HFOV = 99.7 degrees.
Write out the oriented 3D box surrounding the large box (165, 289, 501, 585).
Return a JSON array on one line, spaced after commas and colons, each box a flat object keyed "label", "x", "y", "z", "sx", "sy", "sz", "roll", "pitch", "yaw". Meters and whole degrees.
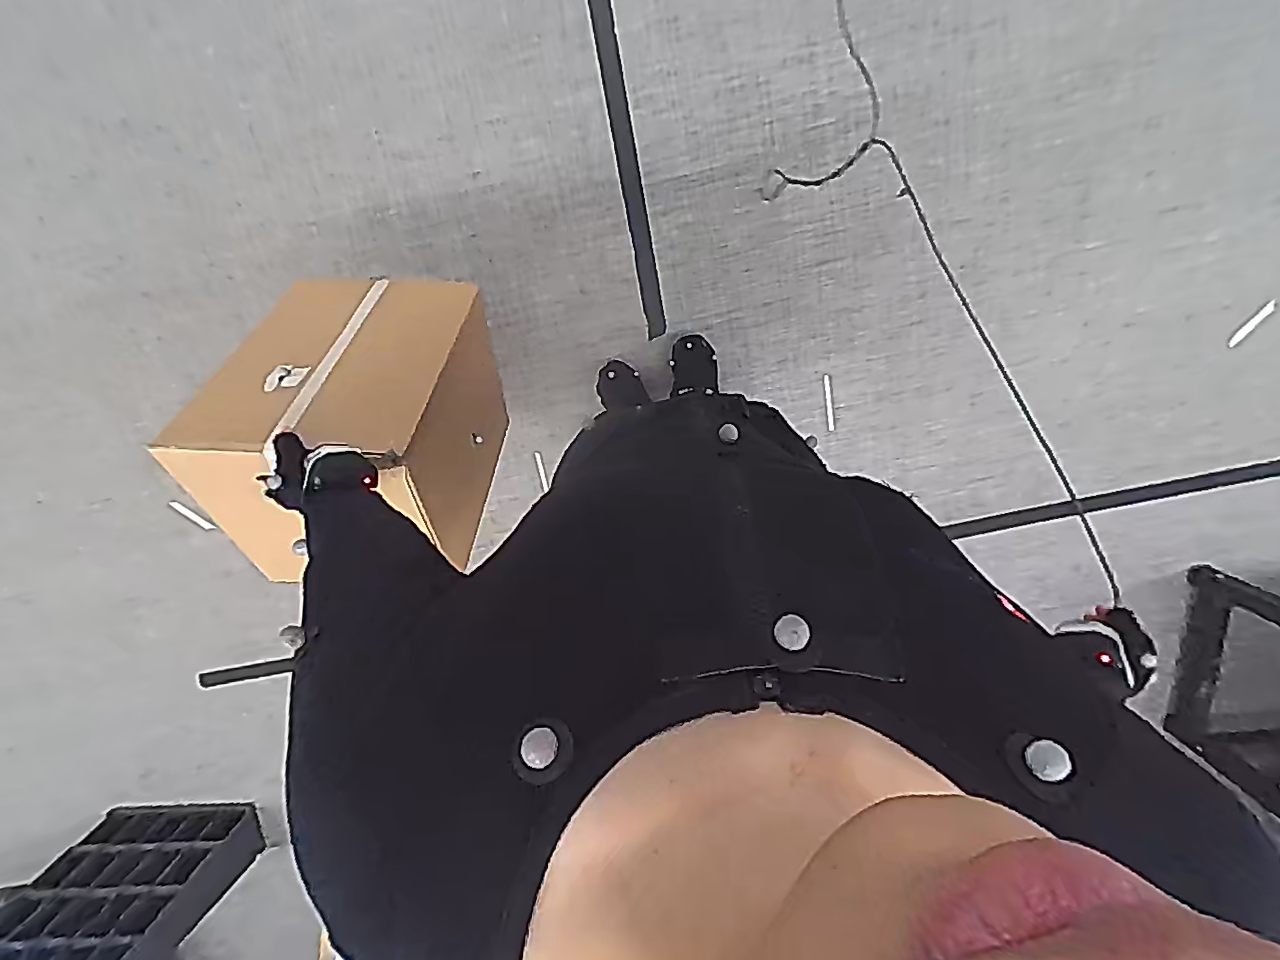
[{"label": "large box", "x": -0.443, "y": -0.076, "z": 0.914, "sx": 0.320, "sy": 0.408, "sz": 0.320, "roll": 1, "pitch": 139, "yaw": 1}]
